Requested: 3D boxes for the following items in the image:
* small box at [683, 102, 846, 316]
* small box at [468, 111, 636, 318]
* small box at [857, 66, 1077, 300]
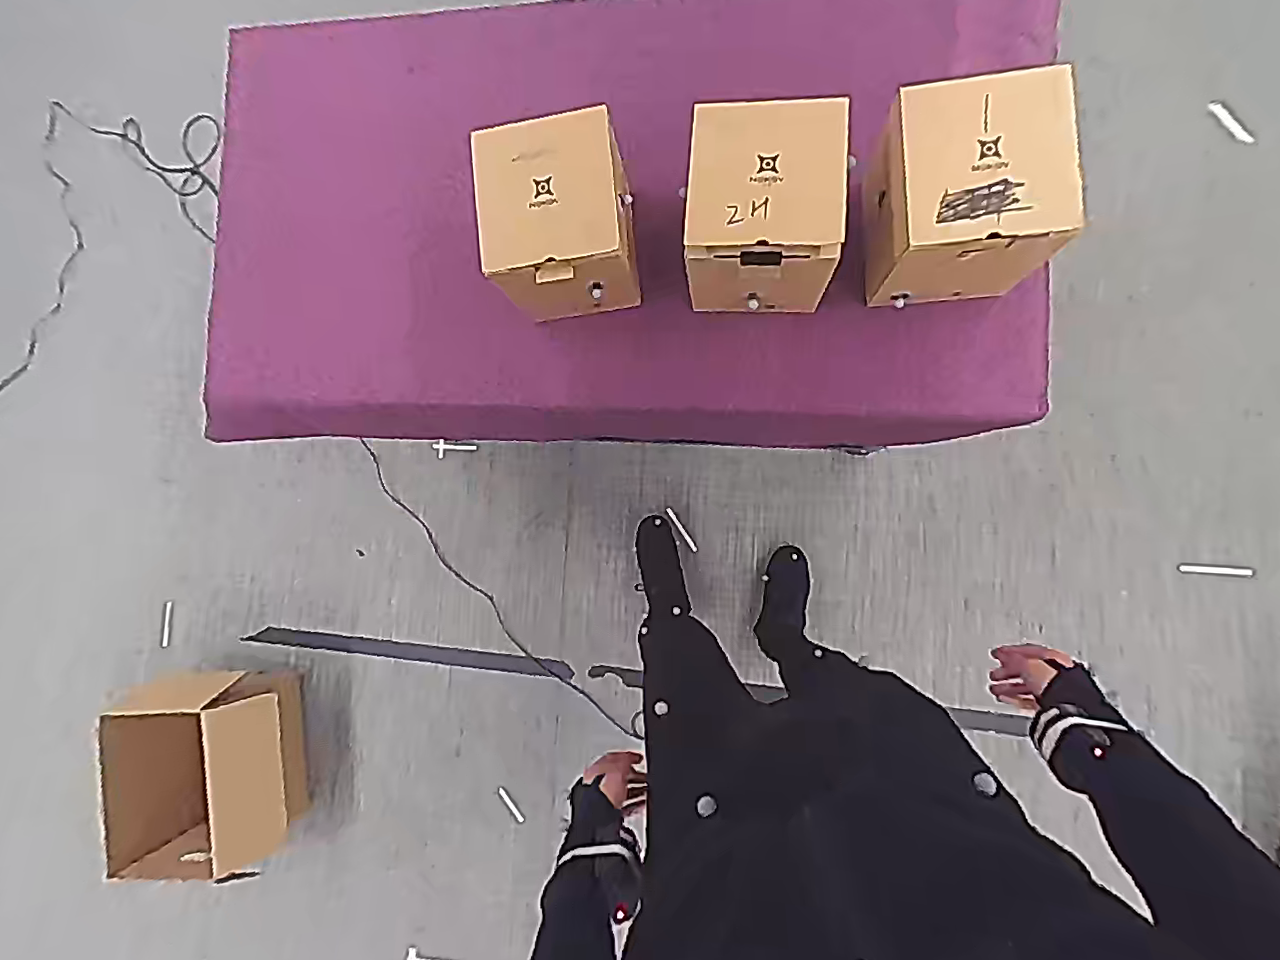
[{"bbox_3d":[0.143,-0.317,0.660,0.168,0.176,0.179,3,88,8],"label":"small box"},{"bbox_3d":[-0.102,-0.321,0.697,0.168,0.176,0.179,-6,86,7],"label":"small box"},{"bbox_3d":[0.360,-0.322,0.628,0.168,0.176,0.179,-3,86,8],"label":"small box"}]
